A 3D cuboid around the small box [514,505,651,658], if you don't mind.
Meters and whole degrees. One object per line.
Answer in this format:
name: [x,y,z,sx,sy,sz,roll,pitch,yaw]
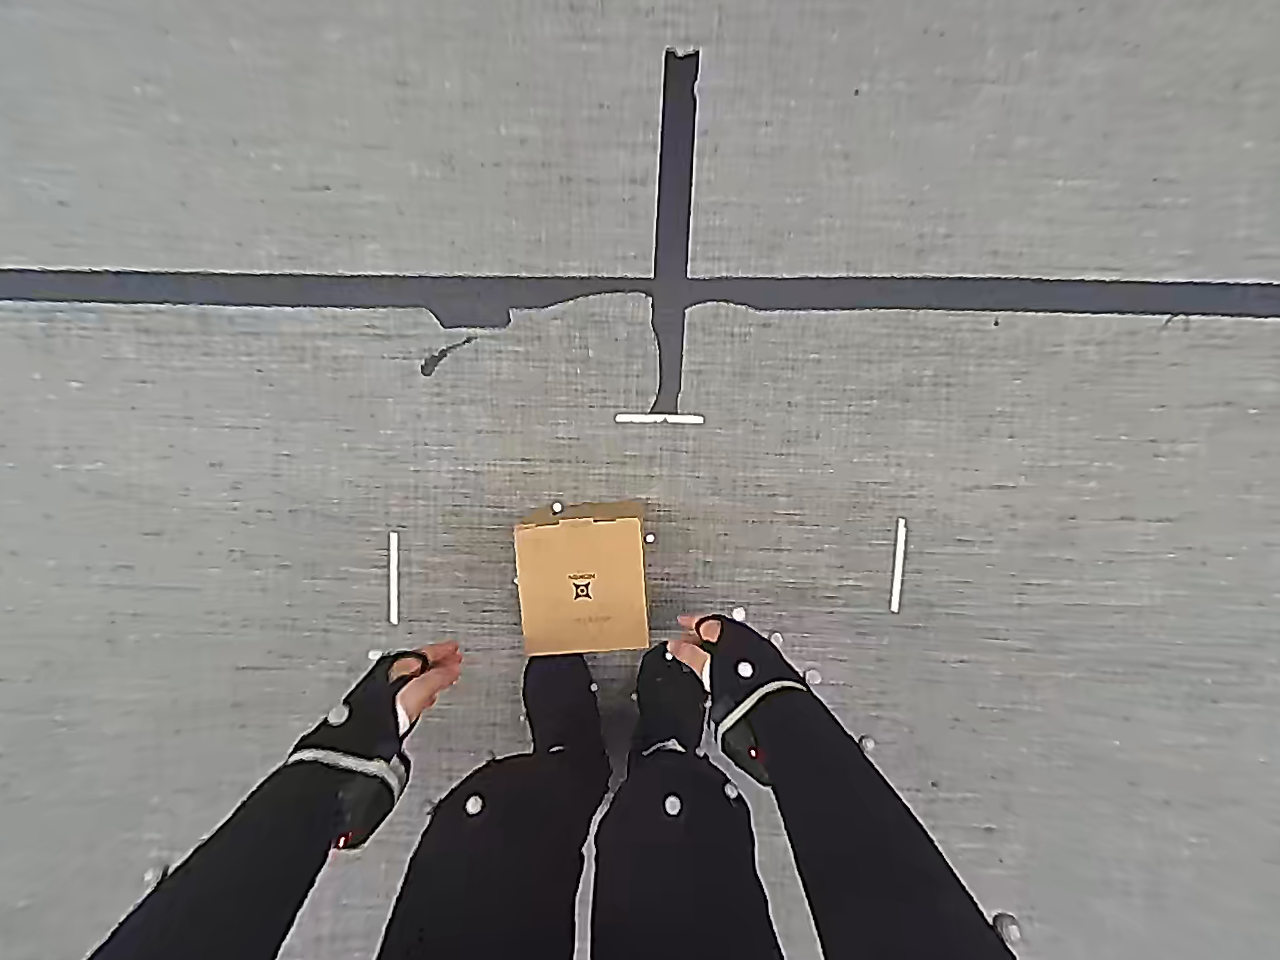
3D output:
small box: [-0.073,0.133,0.772,0.168,0.176,0.179,-5,96,2]
